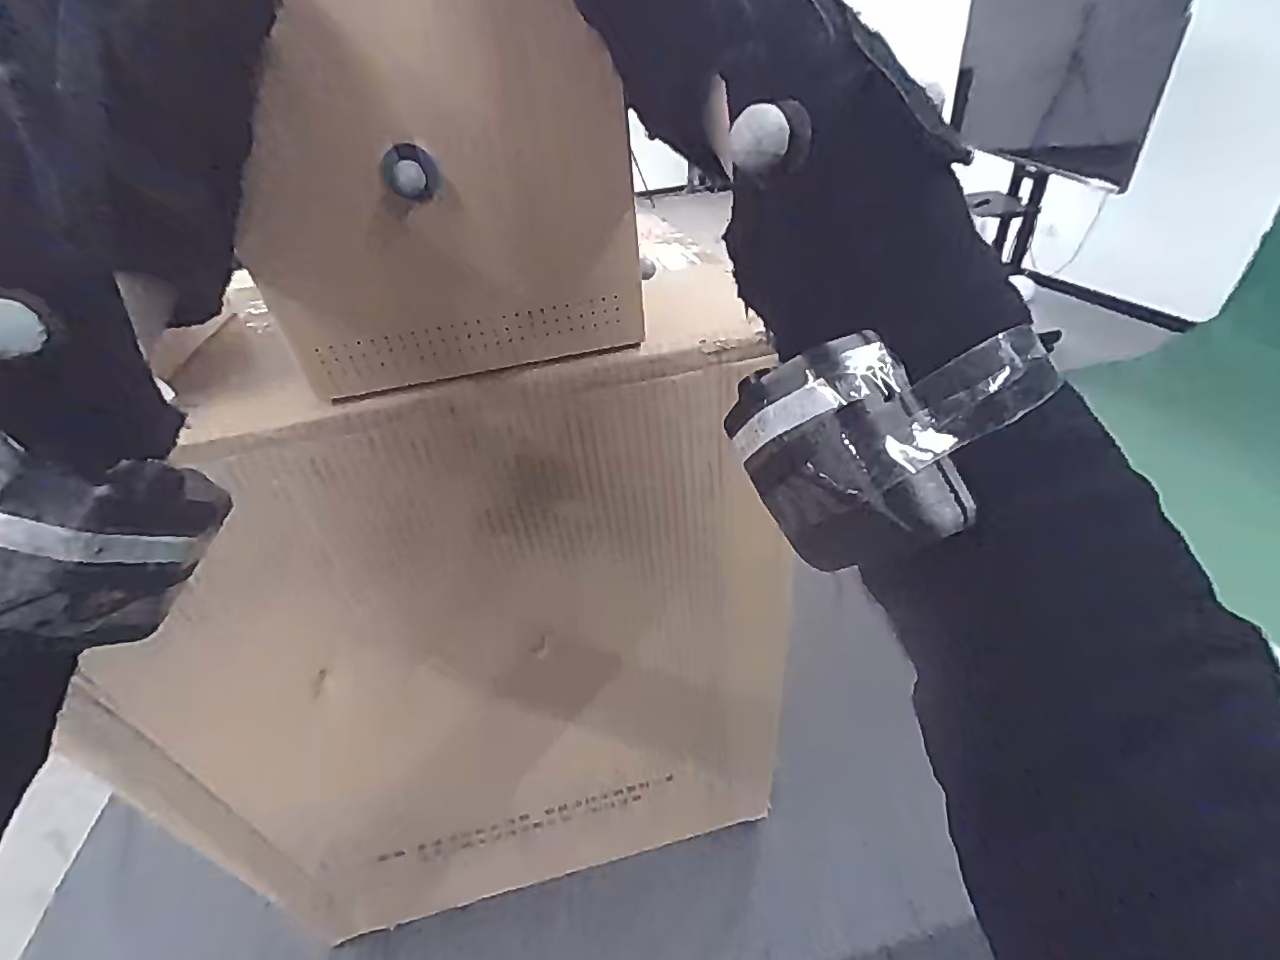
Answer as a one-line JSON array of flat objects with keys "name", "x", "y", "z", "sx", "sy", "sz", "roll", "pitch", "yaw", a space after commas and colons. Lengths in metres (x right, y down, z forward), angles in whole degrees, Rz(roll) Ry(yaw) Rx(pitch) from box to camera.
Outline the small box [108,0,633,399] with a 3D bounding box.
[{"name": "small box", "x": -0.104, "y": -0.165, "z": 0.298, "sx": 0.179, "sy": 0.176, "sz": 0.168, "roll": -13, "pitch": 38, "yaw": -6}]
